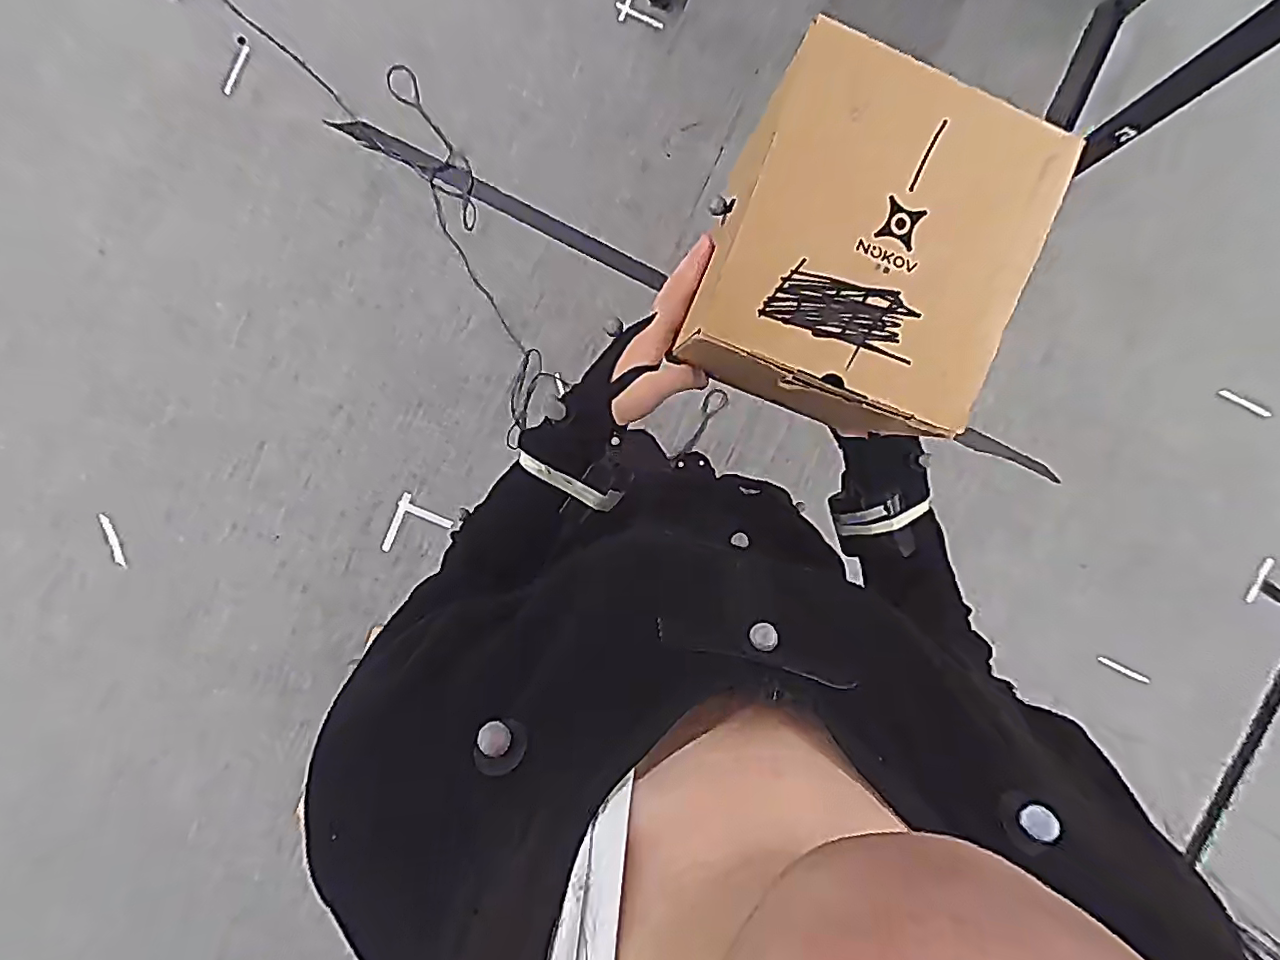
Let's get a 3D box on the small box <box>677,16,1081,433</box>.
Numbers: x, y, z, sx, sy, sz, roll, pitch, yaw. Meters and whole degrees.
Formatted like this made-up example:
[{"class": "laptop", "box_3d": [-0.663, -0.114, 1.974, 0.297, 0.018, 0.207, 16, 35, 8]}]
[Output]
[{"class": "small box", "box_3d": [0.132, -0.144, 0.376, 0.168, 0.176, 0.179, 20, 95, -6]}]
